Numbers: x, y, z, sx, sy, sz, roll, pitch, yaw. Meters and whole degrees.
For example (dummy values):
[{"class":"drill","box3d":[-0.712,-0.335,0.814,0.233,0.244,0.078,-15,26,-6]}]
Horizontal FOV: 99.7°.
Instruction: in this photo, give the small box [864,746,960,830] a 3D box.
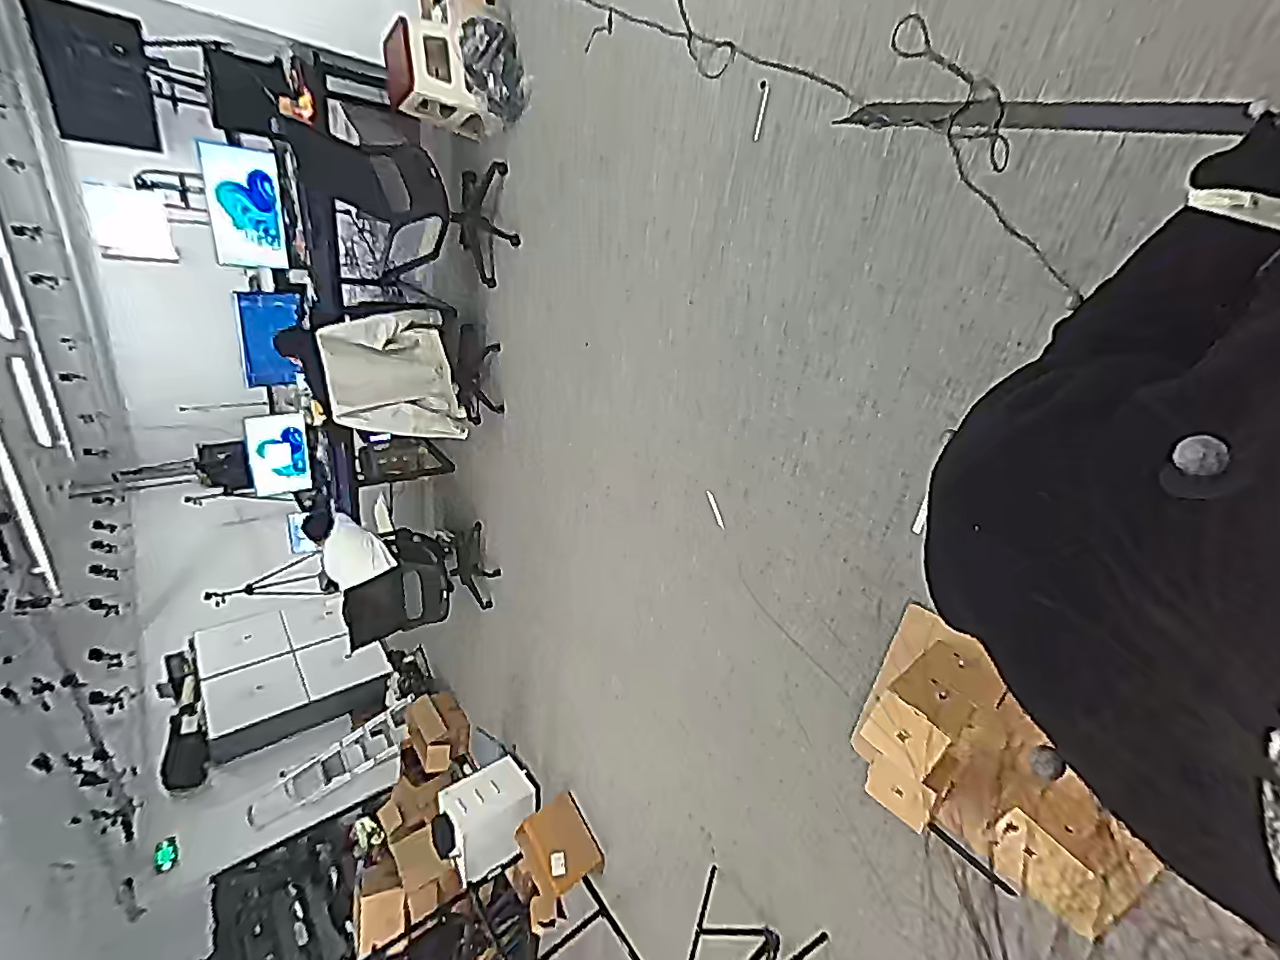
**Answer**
[{"class":"small box","box3d":[0.790,0.854,1.572,0.179,0.176,0.168,28,122,43]}]

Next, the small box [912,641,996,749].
[{"class":"small box","box3d":[0.819,0.570,1.455,0.168,0.176,0.179,33,123,40]}]

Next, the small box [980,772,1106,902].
[{"class":"small box","box3d":[0.990,0.868,1.328,0.179,0.176,0.168,41,129,34]}]

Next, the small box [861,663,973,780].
[{"class":"small box","box3d":[0.695,0.597,1.353,0.168,0.176,0.179,37,125,38]}]
